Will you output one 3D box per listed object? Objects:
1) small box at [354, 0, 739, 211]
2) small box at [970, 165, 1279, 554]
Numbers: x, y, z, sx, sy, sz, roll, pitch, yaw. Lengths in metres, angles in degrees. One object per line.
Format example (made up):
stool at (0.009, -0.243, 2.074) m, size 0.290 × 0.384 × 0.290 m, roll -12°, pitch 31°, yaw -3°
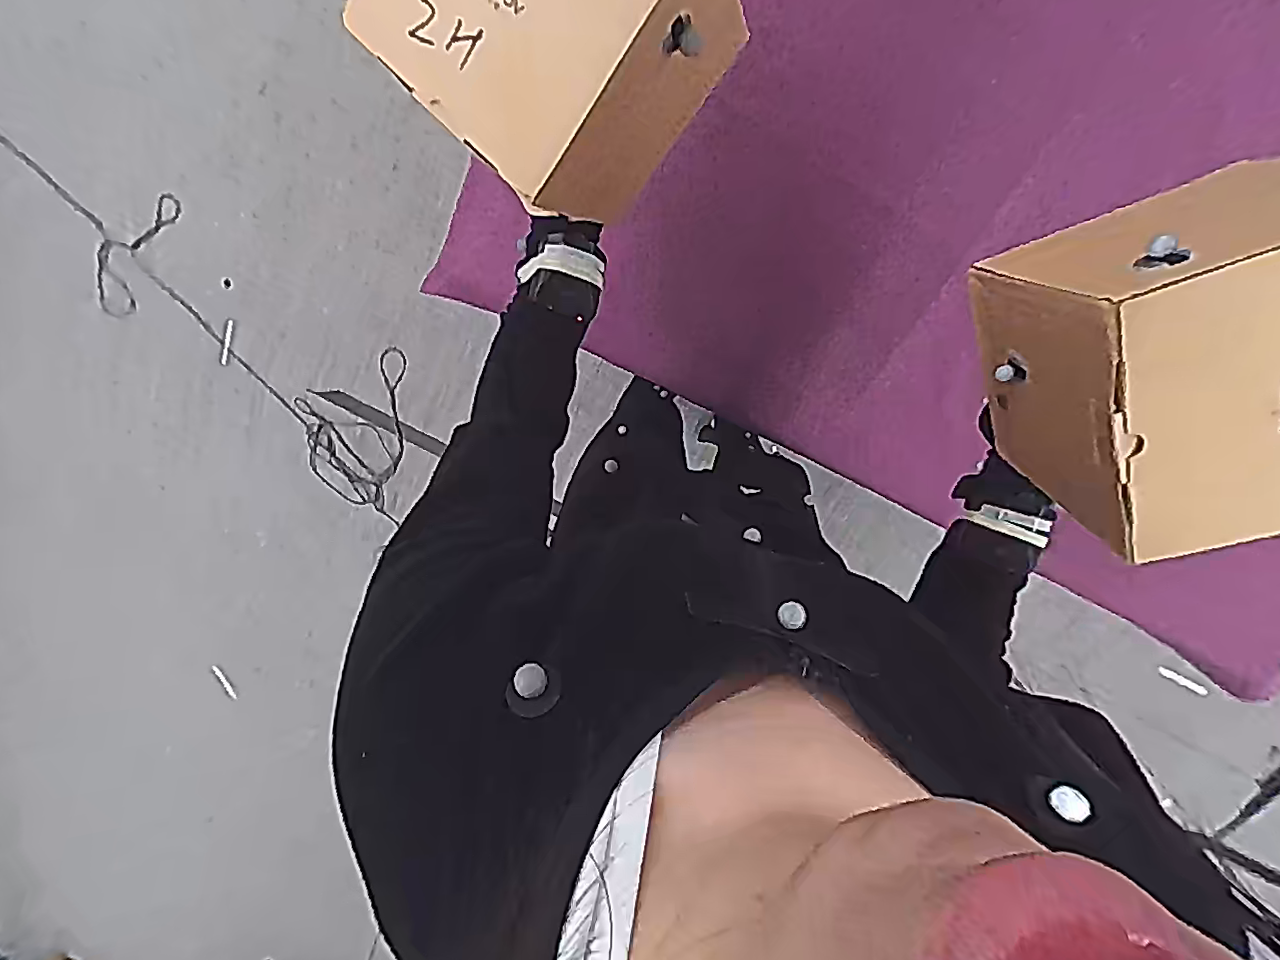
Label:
small box at (-0.047, -0.320, 0.377) m, size 0.168 × 0.176 × 0.179 m, roll 43°, pitch 116°, yaw -2°
small box at (0.348, -0.084, 0.345) m, size 0.179 × 0.176 × 0.168 m, roll -18°, pitch 114°, yaw 16°
